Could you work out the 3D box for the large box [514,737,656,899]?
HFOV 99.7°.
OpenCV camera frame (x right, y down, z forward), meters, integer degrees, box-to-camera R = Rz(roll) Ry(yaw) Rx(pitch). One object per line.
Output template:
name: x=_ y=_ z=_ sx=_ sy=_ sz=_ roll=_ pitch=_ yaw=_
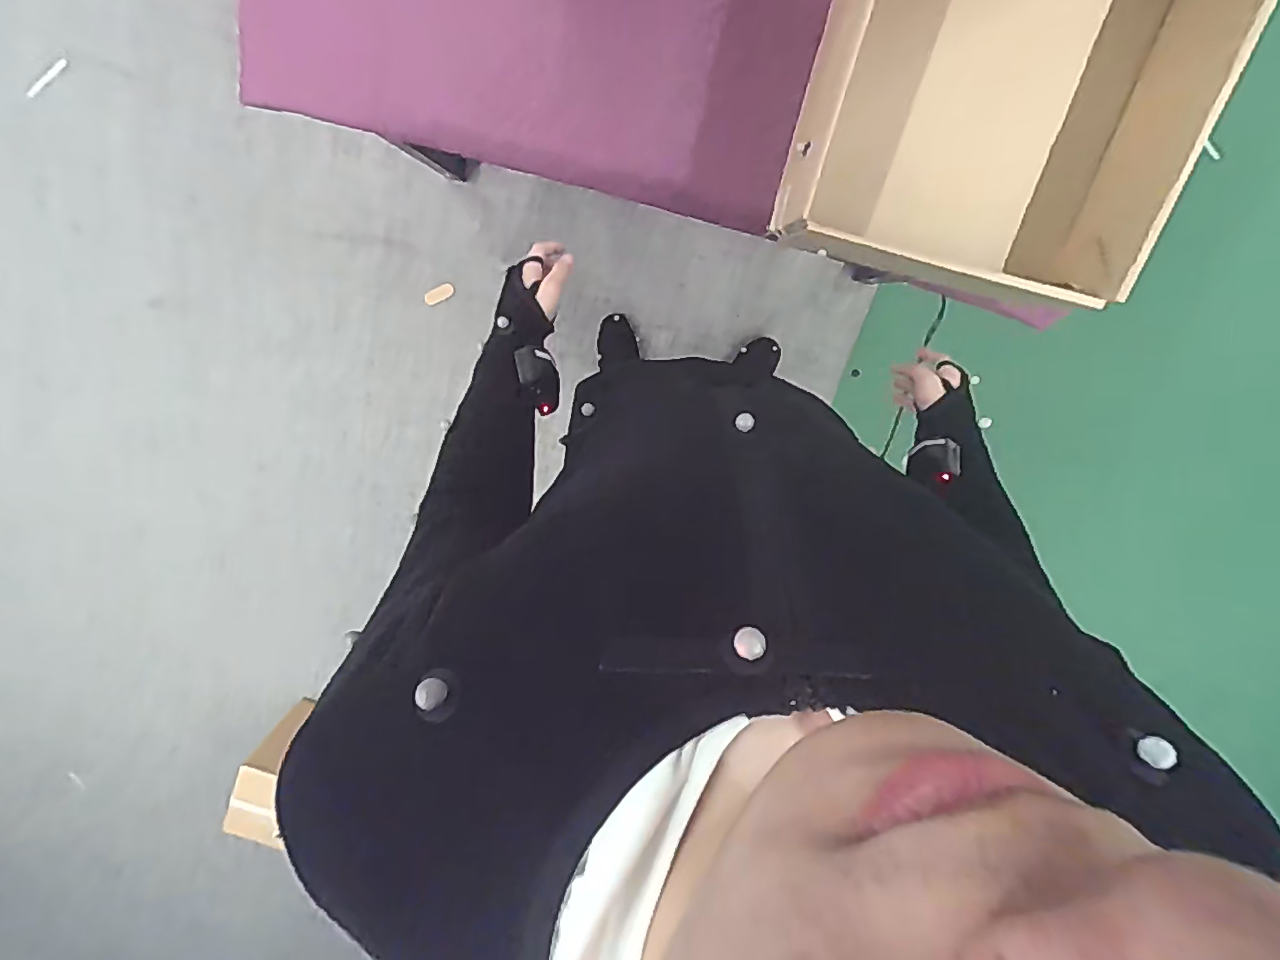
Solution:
large box: x=-0.180 y=1.188 z=1.921 sx=0.408 sy=0.320 sz=0.320 roll=-18 pitch=108 yaw=6
